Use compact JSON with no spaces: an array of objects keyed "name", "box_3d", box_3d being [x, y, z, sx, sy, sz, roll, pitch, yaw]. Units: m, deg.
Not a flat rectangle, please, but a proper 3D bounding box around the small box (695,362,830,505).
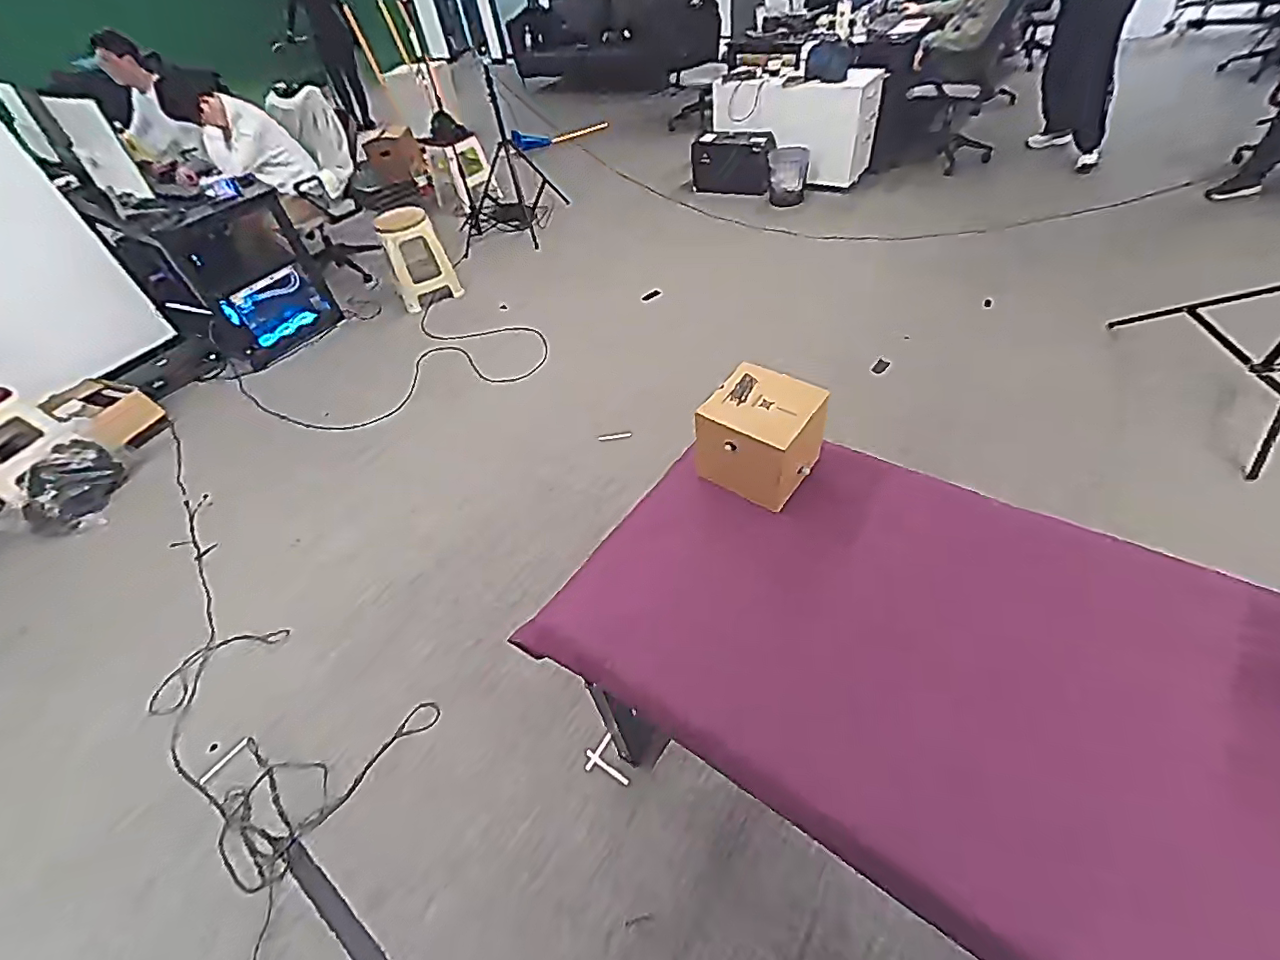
[{"name":"small box","box_3d":[0.219,-0.083,0.990,0.179,0.176,0.168,28,59,28]}]
